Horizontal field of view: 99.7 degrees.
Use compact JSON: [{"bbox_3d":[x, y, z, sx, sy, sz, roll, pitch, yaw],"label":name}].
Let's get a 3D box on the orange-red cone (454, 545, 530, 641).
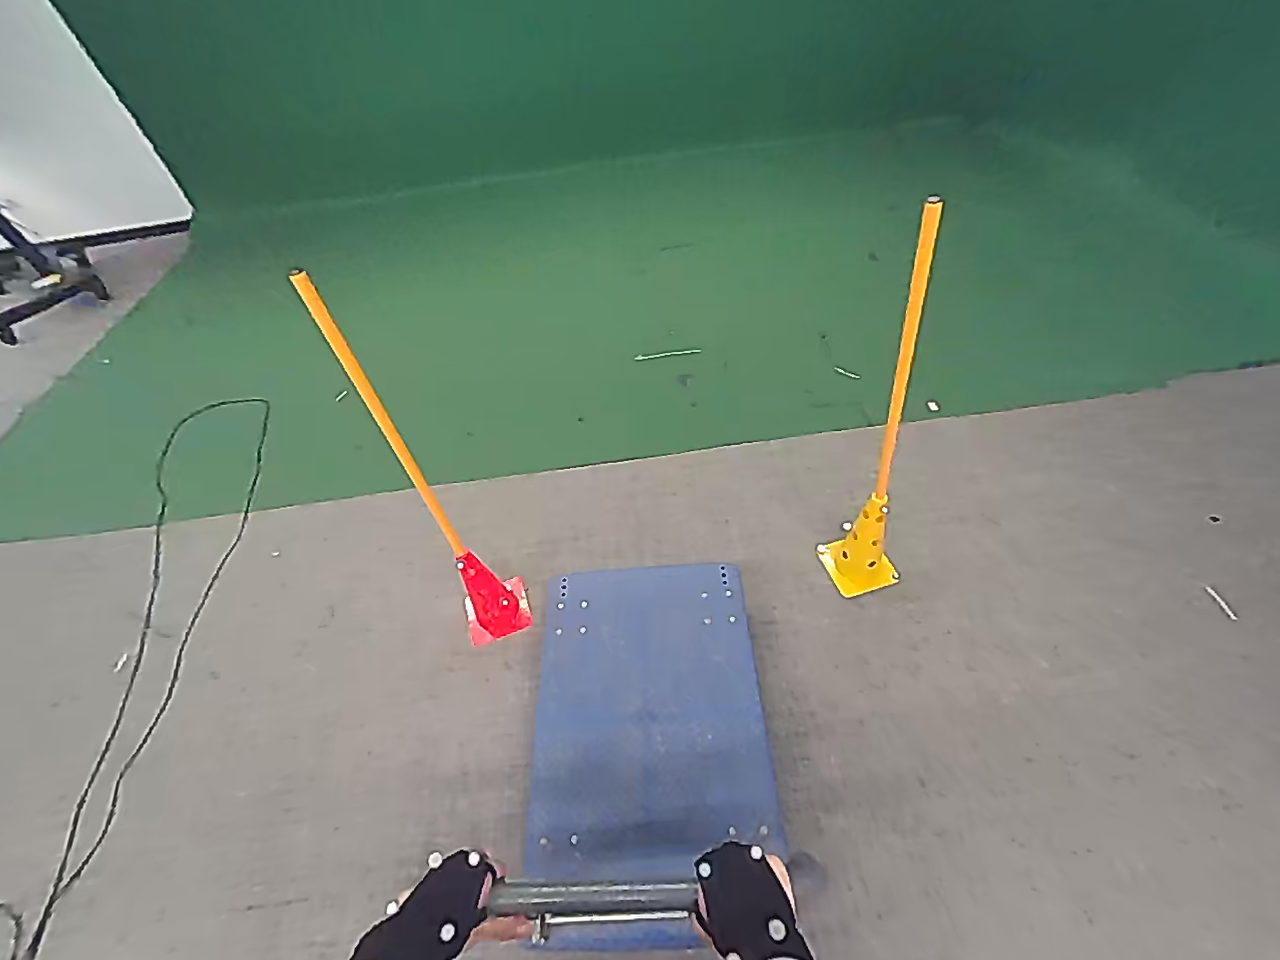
[{"bbox_3d":[-0.488,0.311,1.652,0.199,0.360,0.198,-19,50,-7],"label":"orange-red cone"}]
